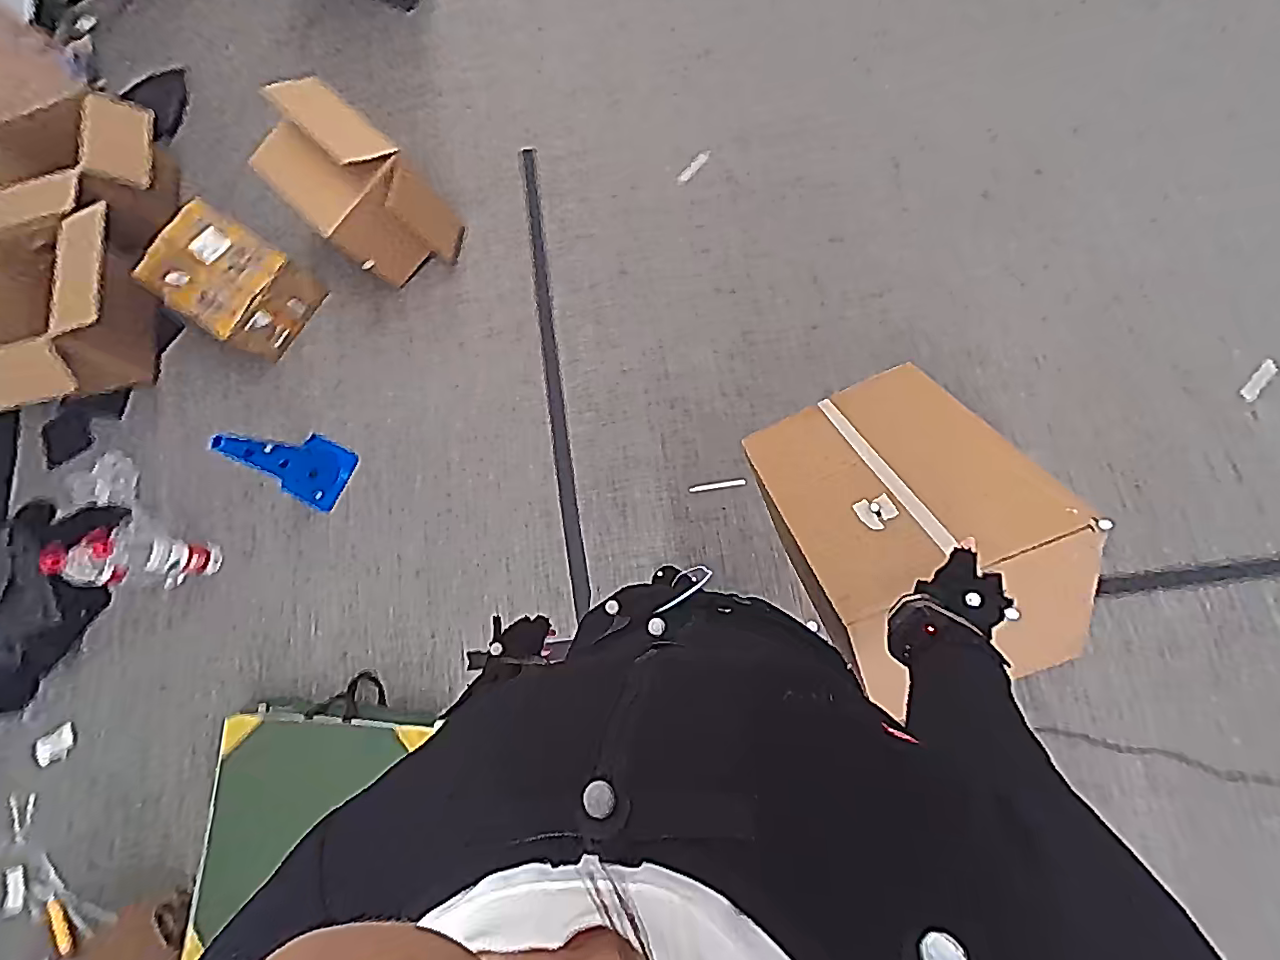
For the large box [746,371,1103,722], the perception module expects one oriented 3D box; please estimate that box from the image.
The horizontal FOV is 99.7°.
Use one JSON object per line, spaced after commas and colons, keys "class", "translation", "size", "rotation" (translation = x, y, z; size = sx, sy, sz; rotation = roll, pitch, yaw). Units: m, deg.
{"class": "large box", "translation": [0.412, 0.096, 0.871], "size": [0.320, 0.320, 0.408], "rotation": [-25, 39, 9]}
